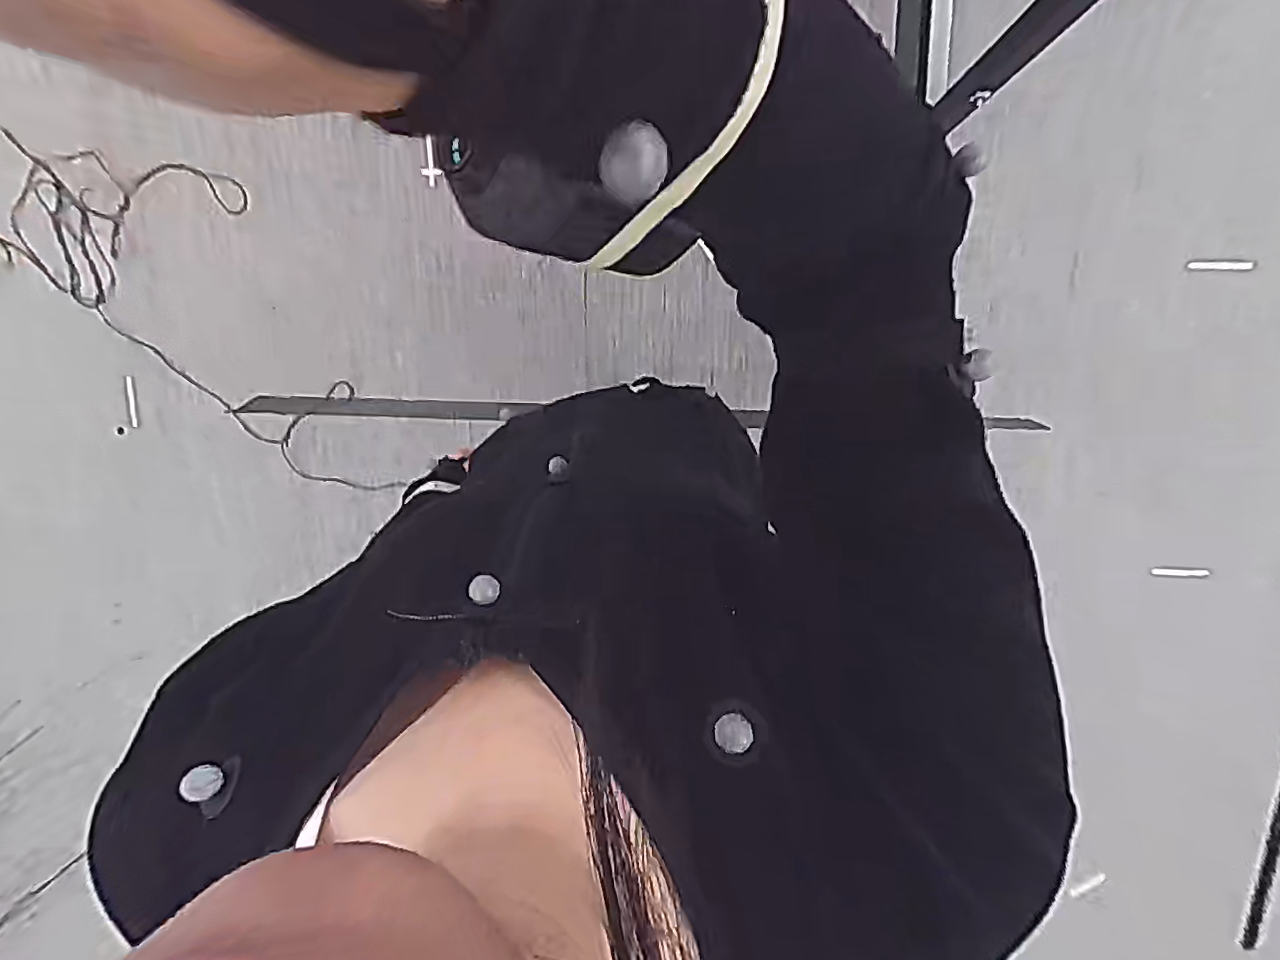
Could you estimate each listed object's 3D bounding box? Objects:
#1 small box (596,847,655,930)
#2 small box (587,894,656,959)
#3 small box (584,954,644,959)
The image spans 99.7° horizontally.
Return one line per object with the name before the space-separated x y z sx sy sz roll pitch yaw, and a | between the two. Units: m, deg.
small box | -0.040 1.235 1.618 0.168 0.176 0.179 -3 100 2
small box | -0.045 1.266 1.456 0.168 0.176 0.179 -4 100 3
small box | -0.061 1.293 1.294 0.168 0.176 0.179 -4 99 3
